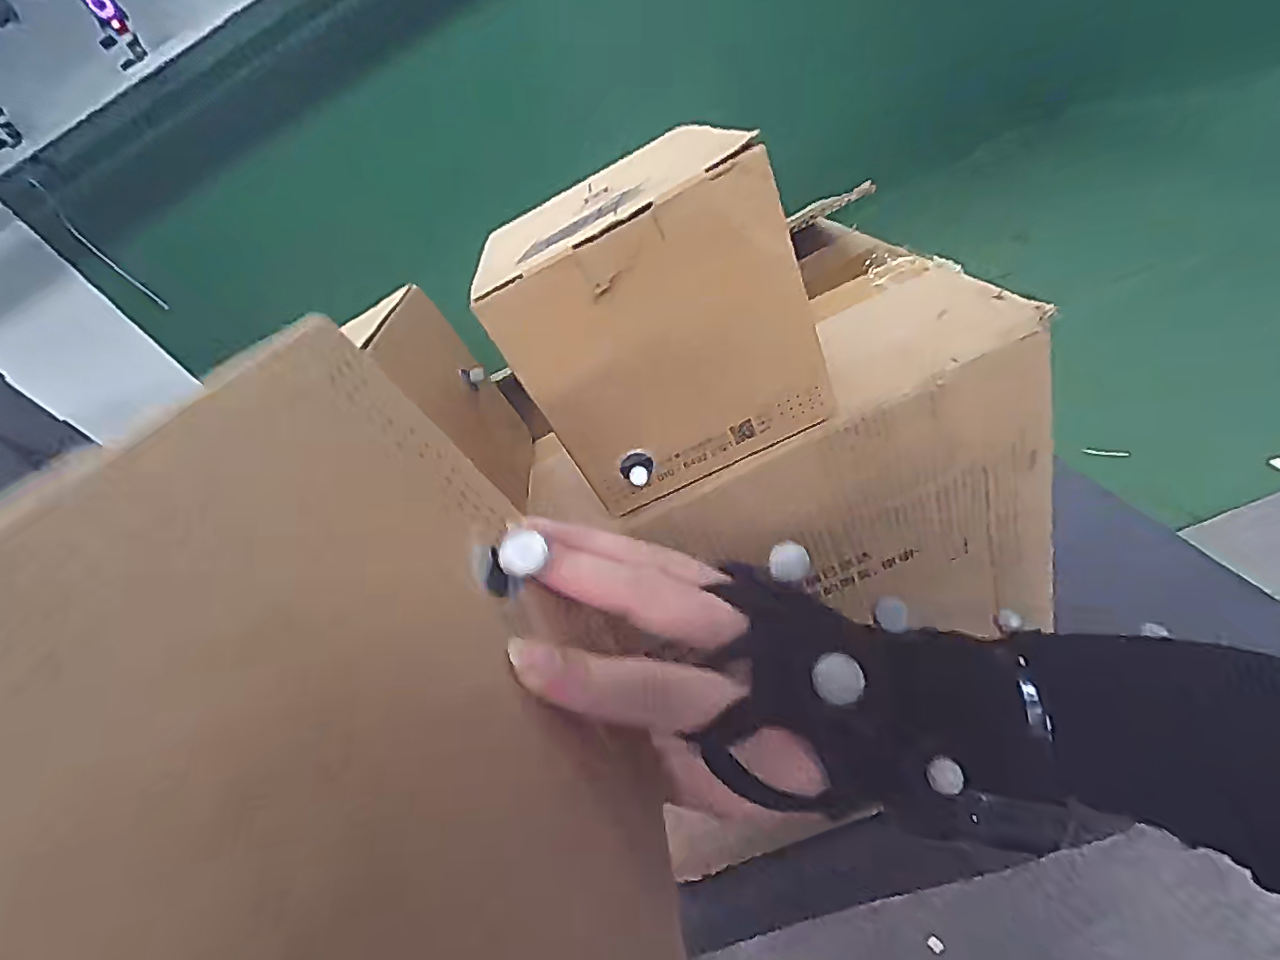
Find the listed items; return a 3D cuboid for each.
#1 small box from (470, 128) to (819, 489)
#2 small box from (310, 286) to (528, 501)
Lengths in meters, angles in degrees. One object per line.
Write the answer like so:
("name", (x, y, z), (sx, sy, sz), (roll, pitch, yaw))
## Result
("small box", (0.004, -0.115, 0.383), (0.168, 0.176, 0.179), (-26, 35, 6))
("small box", (-0.200, -0.012, 0.414), (0.168, 0.176, 0.179), (-28, 36, 10))
